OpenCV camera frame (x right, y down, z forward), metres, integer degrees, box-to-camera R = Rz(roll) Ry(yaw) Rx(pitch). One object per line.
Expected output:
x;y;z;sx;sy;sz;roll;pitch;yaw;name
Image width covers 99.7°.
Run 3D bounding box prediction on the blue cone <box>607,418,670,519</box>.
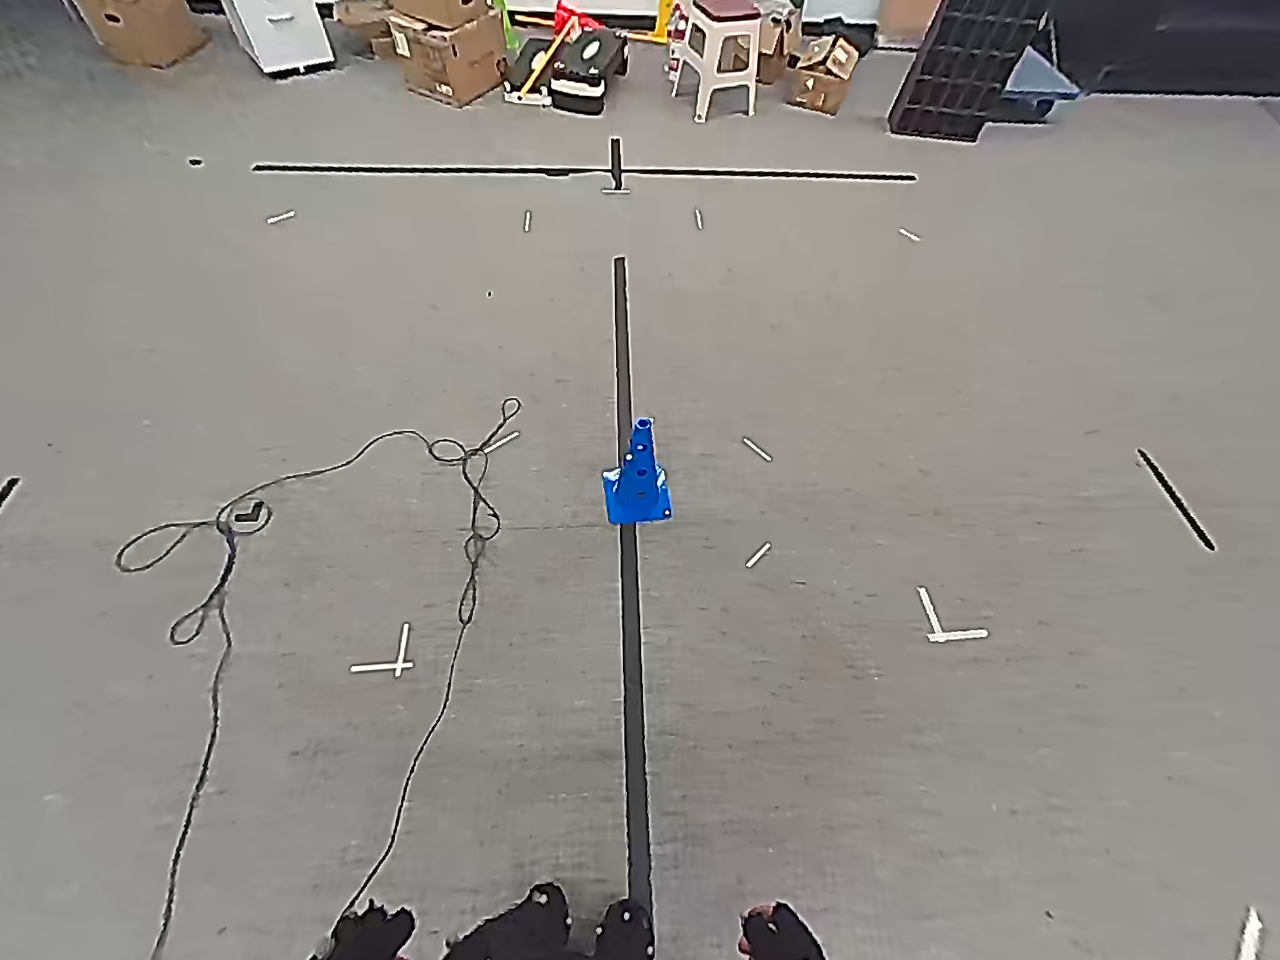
0.005;-0.048;1.576;0.192;0.380;0.193;-3;57;-7;blue cone
